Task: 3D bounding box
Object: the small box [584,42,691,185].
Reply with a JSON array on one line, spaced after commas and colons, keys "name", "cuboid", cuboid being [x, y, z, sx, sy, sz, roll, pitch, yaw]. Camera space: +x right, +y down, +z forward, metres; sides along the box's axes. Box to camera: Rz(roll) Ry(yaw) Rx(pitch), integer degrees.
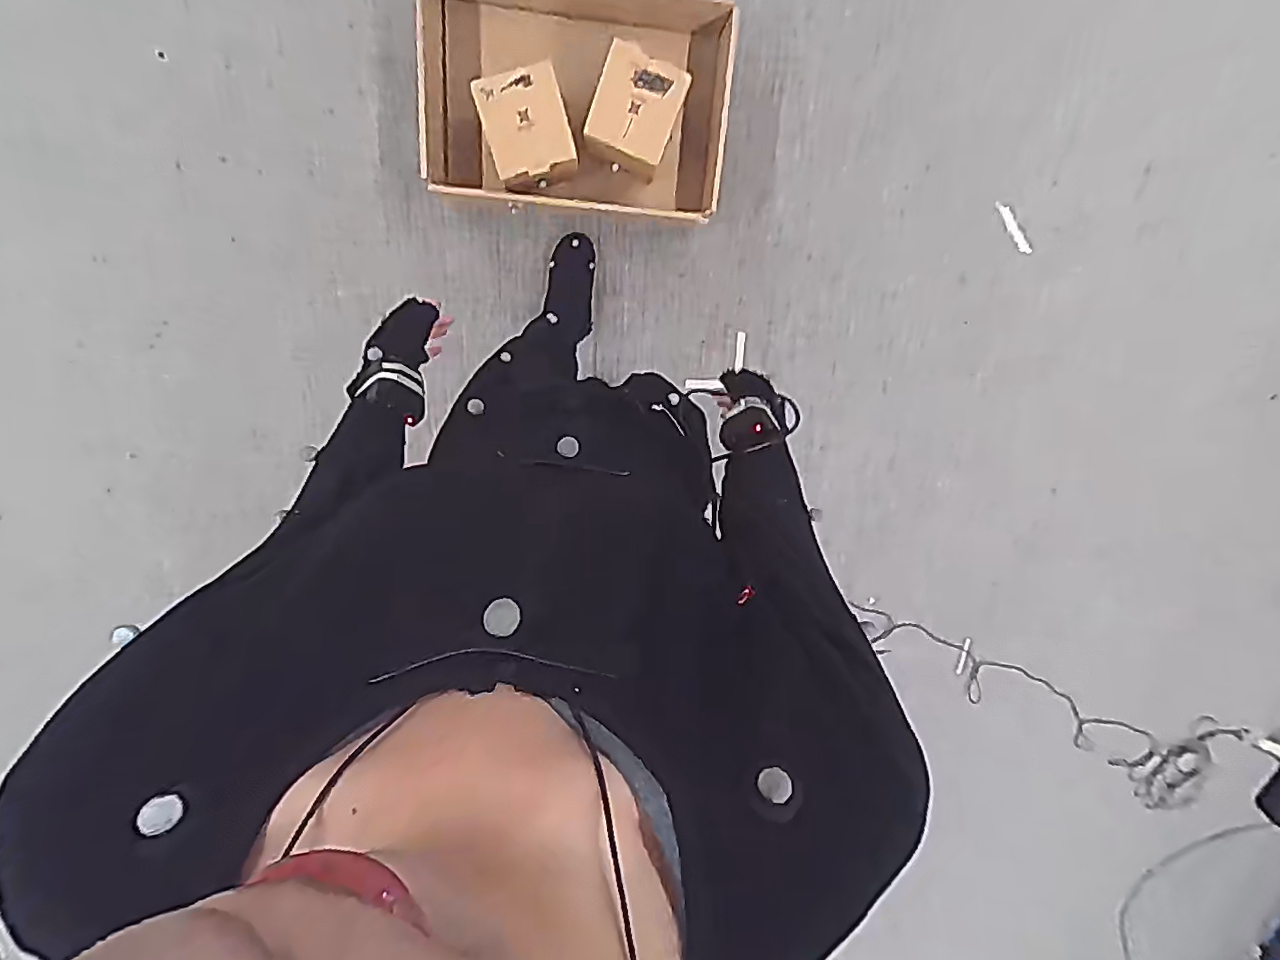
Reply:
[{"name": "small box", "cuboid": [-0.012, -0.759, 1.143, 0.168, 0.176, 0.179, 21, 106, -10]}]
